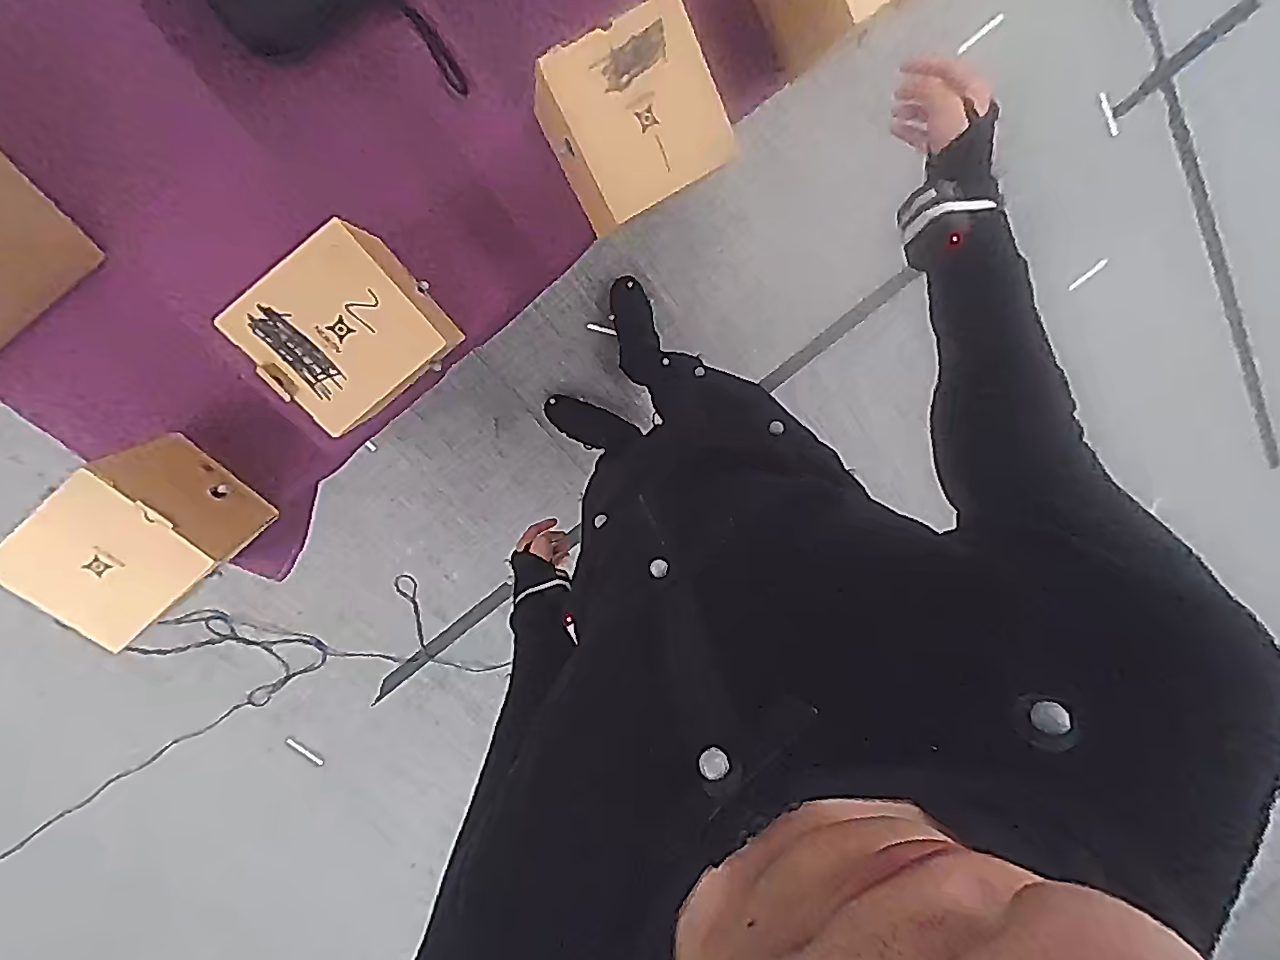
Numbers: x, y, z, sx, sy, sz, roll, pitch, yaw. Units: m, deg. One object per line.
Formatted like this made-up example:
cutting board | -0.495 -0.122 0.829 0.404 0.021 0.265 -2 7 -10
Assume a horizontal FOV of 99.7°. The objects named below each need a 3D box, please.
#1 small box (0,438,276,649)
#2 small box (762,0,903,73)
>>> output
small box | -0.624 0.072 0.699 0.179 0.176 0.168 -42 110 3
small box | 0.240 -0.636 0.632 0.168 0.176 0.179 -34 110 2
